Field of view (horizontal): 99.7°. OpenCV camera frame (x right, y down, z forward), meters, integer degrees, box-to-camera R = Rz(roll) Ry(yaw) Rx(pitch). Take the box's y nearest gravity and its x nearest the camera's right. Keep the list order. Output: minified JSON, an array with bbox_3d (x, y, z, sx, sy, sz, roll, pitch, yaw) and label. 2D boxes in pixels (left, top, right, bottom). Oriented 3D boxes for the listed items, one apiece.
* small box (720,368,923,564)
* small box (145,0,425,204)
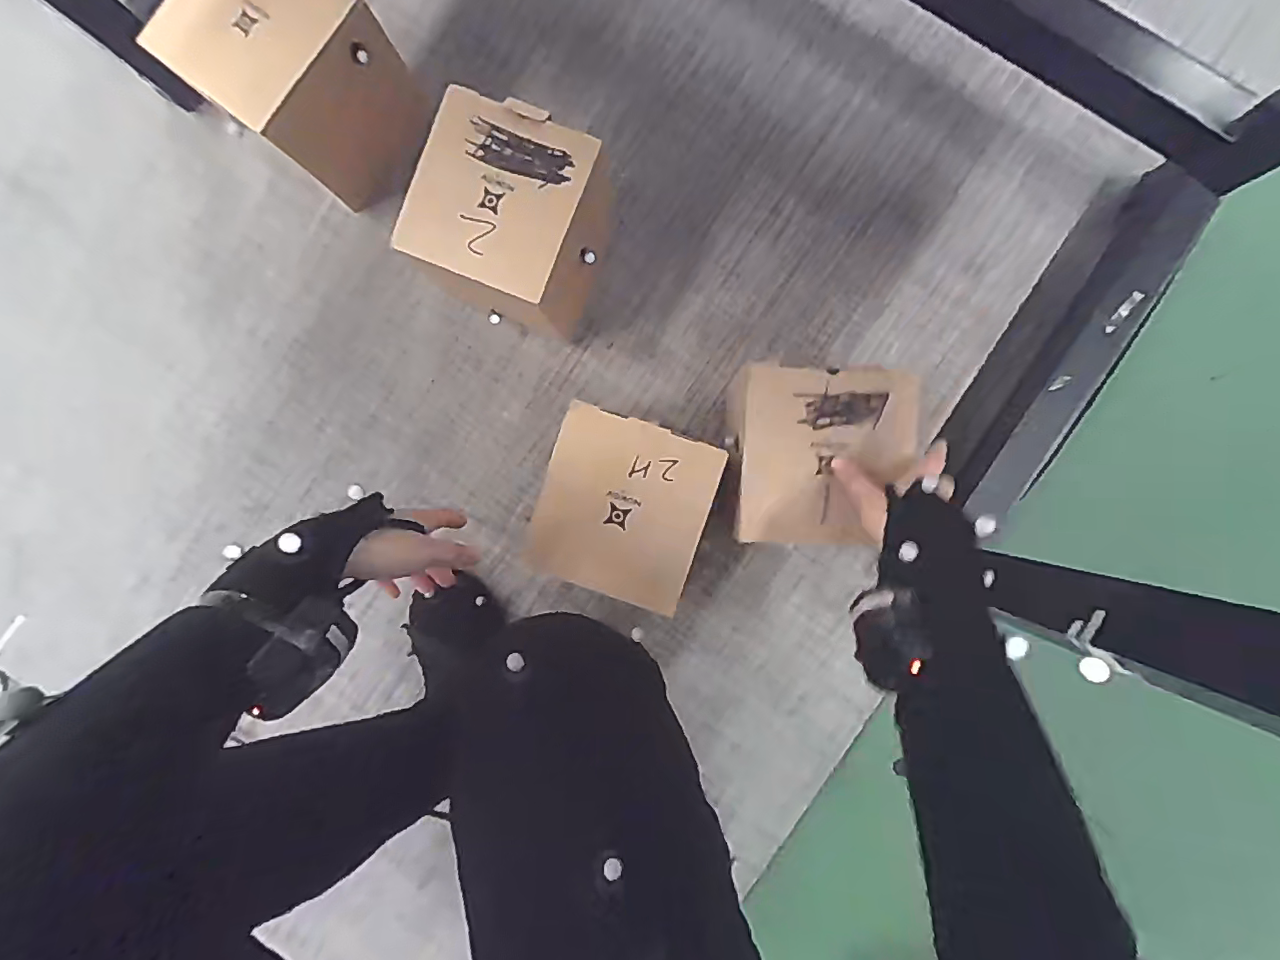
[{"bbox_3d":[0.182,-0.014,0.593,0.168,0.176,0.179,5,91,3],"label":"small box"},{"bbox_3d":[-0.385,-0.464,0.623,0.168,0.176,0.179,38,91,2],"label":"small box"}]
